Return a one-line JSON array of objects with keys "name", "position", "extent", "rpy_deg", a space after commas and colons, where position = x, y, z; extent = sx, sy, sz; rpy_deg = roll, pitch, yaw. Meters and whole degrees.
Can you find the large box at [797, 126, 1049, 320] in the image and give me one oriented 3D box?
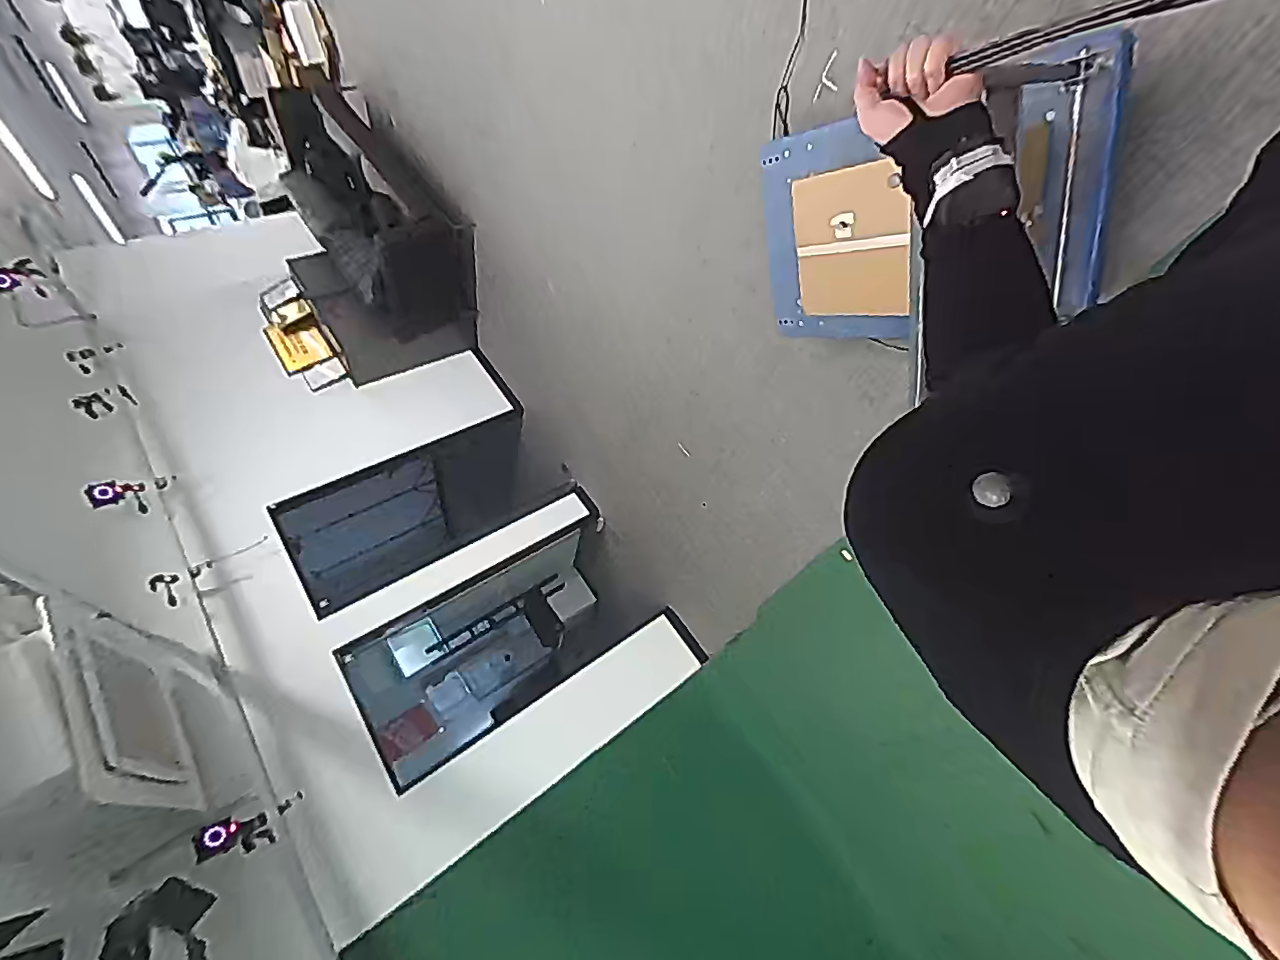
[{"name": "large box", "position": [0.628, -0.561, 1.229], "extent": [0.408, 0.320, 0.320], "rpy_deg": [23, 132, 52]}]
